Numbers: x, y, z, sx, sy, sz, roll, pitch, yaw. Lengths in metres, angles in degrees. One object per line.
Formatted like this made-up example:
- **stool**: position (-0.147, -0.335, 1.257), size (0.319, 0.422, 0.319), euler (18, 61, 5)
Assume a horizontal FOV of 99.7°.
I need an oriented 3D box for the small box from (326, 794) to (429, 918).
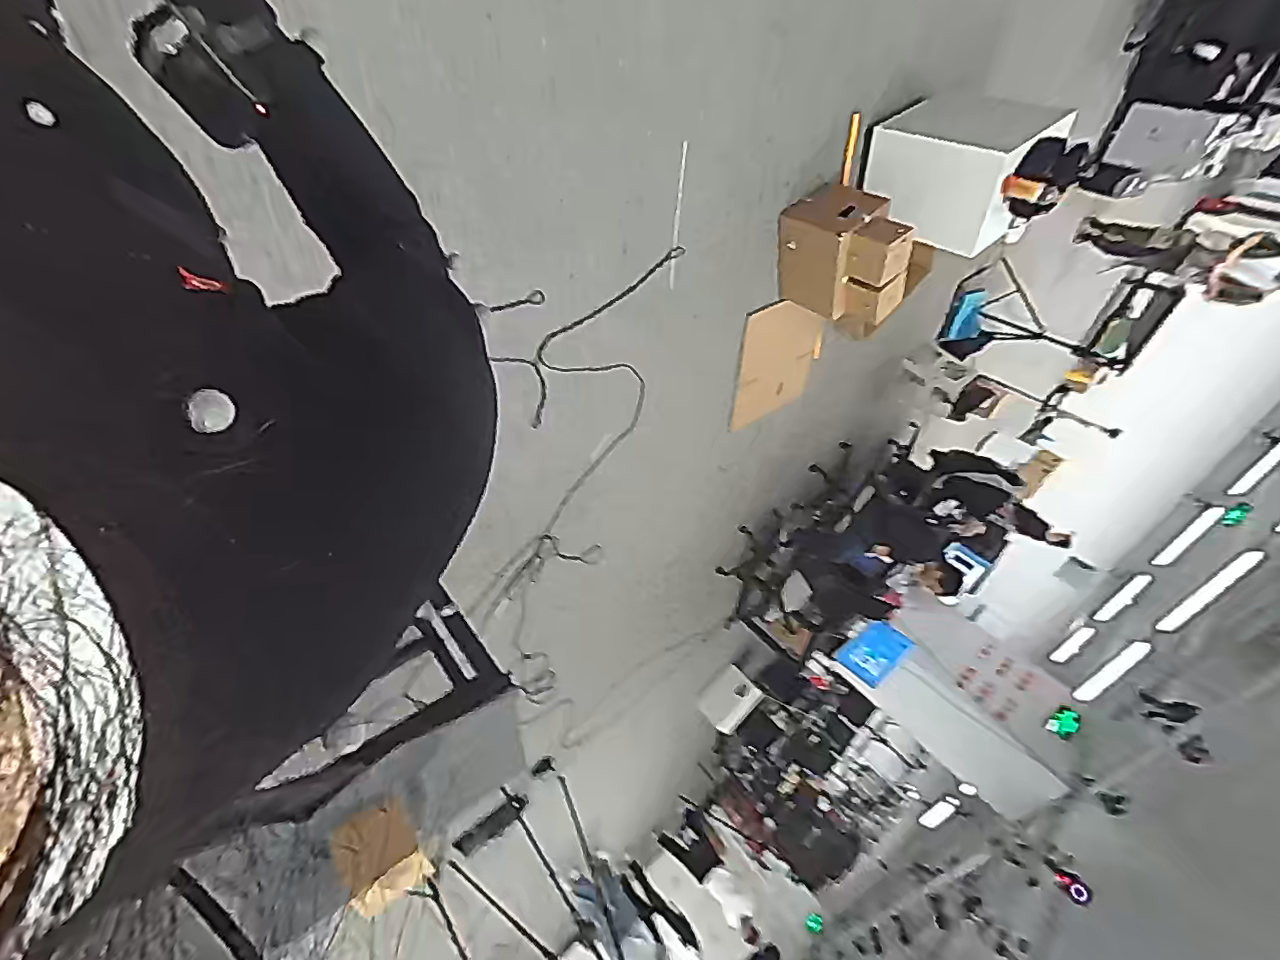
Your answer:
- **small box**: position (-0.645, 0.918, 1.332), size (0.168, 0.176, 0.179), euler (-25, 140, -32)
